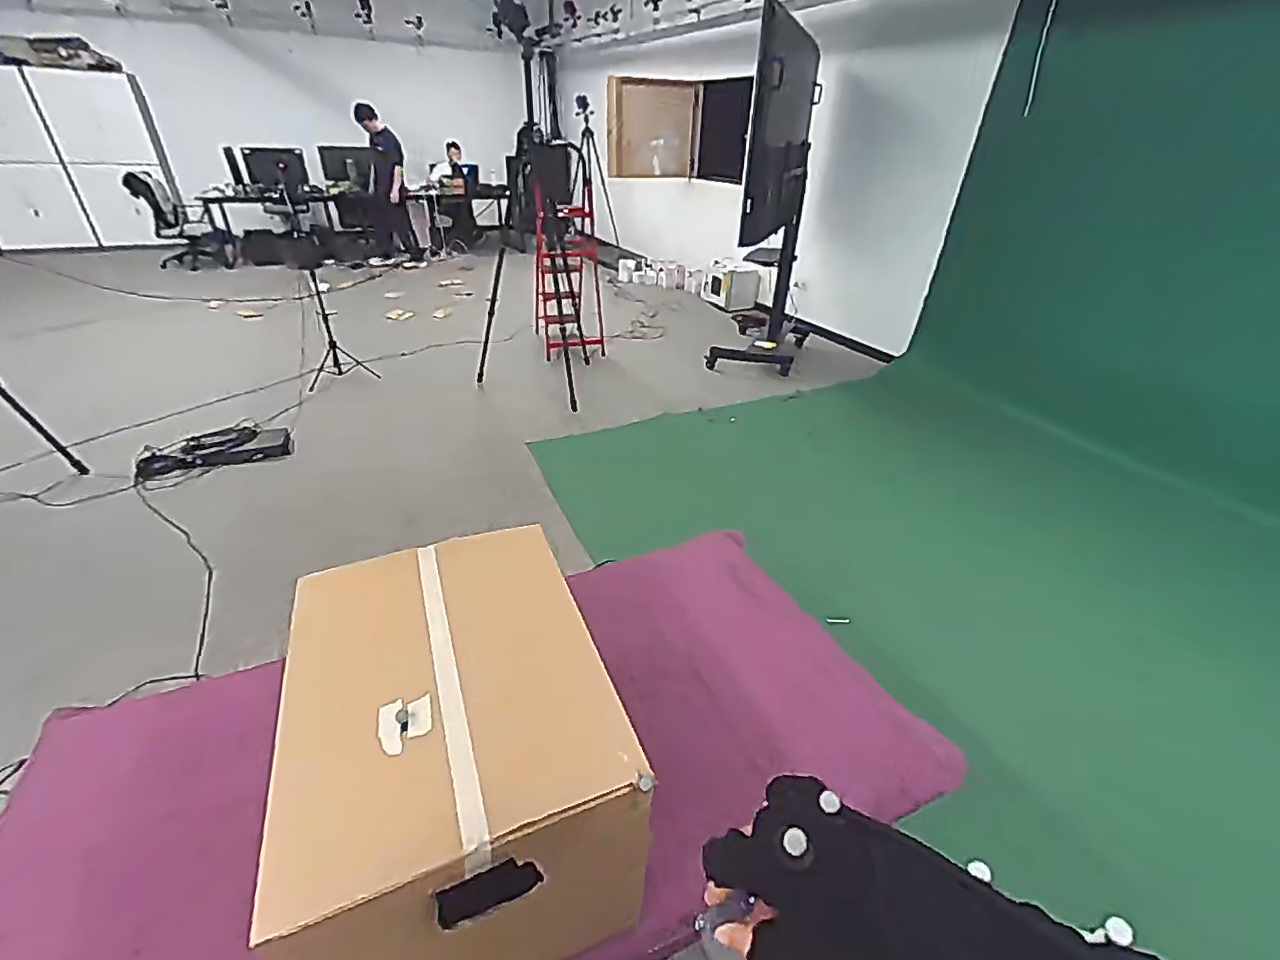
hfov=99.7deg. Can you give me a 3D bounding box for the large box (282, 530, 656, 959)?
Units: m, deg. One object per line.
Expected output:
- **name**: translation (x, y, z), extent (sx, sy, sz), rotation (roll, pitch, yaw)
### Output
- **large box**: translation (-0.212, 0.324, 0.677), extent (0.320, 0.320, 0.408), rotation (-11, 36, -21)
